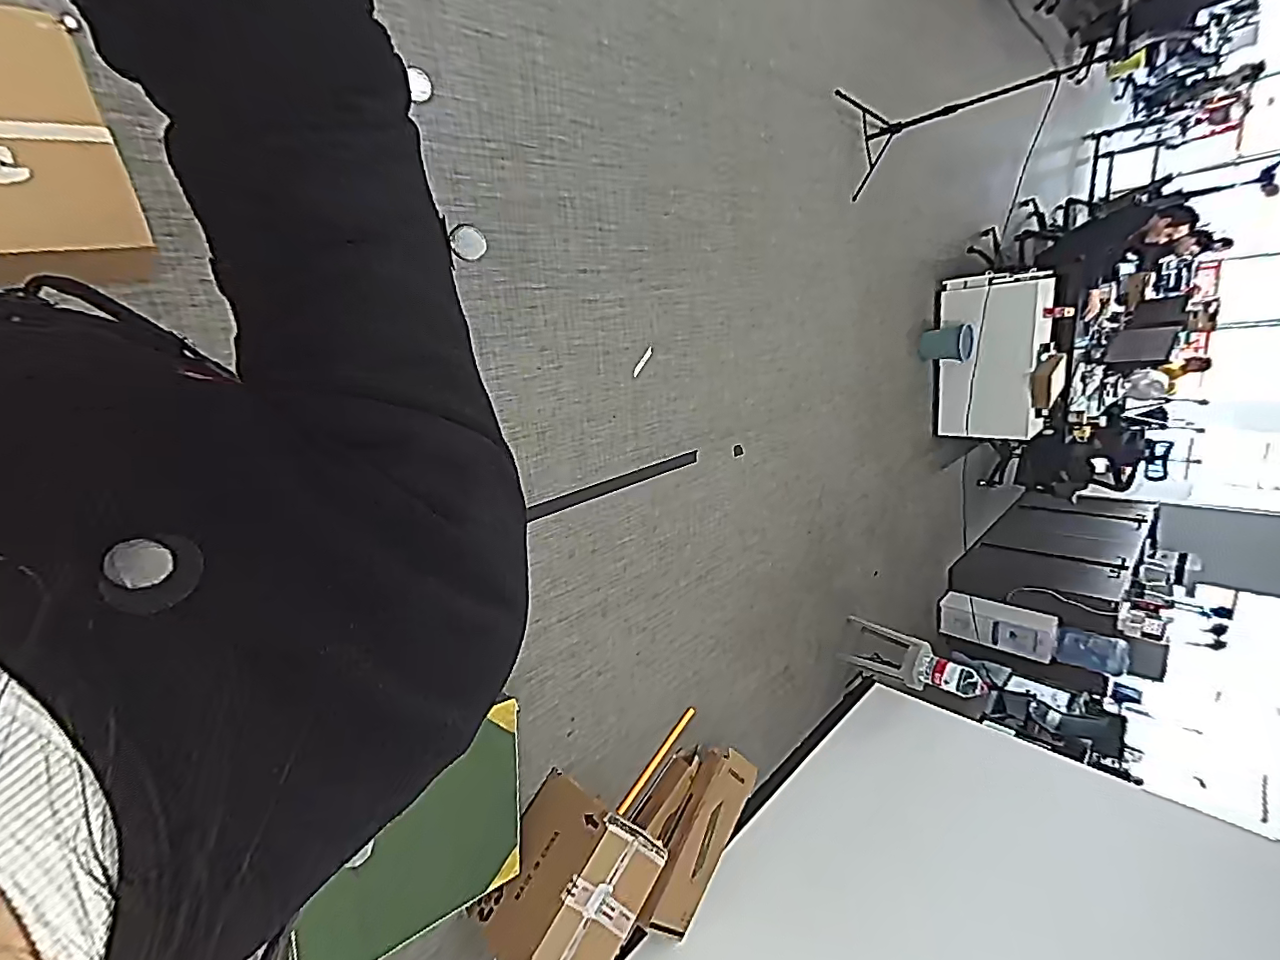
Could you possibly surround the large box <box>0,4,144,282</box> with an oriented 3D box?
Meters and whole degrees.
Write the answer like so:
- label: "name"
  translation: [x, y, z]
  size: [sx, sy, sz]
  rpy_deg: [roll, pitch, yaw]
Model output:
- label: "large box"
  translation: [-1.060, -0.476, 0.804]
  size: [0.408, 0.320, 0.320]
  rpy_deg: [-24, 113, -39]
